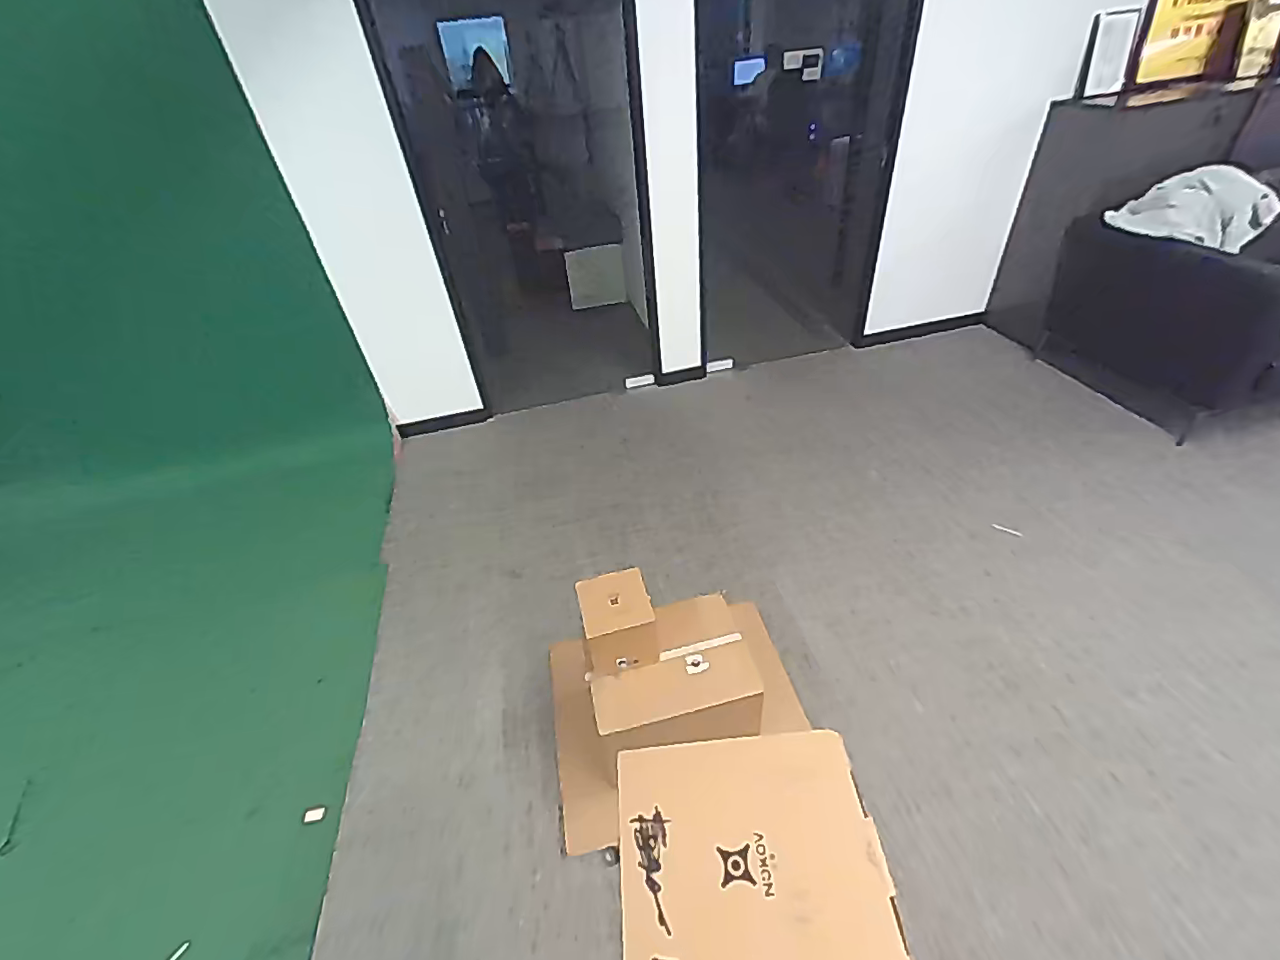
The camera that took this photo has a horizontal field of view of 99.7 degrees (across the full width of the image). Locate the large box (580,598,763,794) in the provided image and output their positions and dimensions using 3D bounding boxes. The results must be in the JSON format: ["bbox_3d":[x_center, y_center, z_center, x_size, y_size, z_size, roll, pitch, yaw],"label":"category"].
[{"bbox_3d":[0.074,0.572,1.448,0.408,0.320,0.320,-11,39,-8],"label":"large box"}]

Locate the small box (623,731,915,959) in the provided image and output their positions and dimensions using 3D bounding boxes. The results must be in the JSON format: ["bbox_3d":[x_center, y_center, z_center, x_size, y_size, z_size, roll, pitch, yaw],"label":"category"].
[{"bbox_3d":[0.080,0.314,0.416,0.179,0.176,0.168,-5,42,1],"label":"small box"}]

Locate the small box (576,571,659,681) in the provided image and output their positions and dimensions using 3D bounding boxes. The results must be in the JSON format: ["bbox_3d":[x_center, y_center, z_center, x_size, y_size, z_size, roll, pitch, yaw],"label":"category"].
[{"bbox_3d":[-0.055,0.361,1.339,0.168,0.176,0.179,-13,39,-8],"label":"small box"}]
